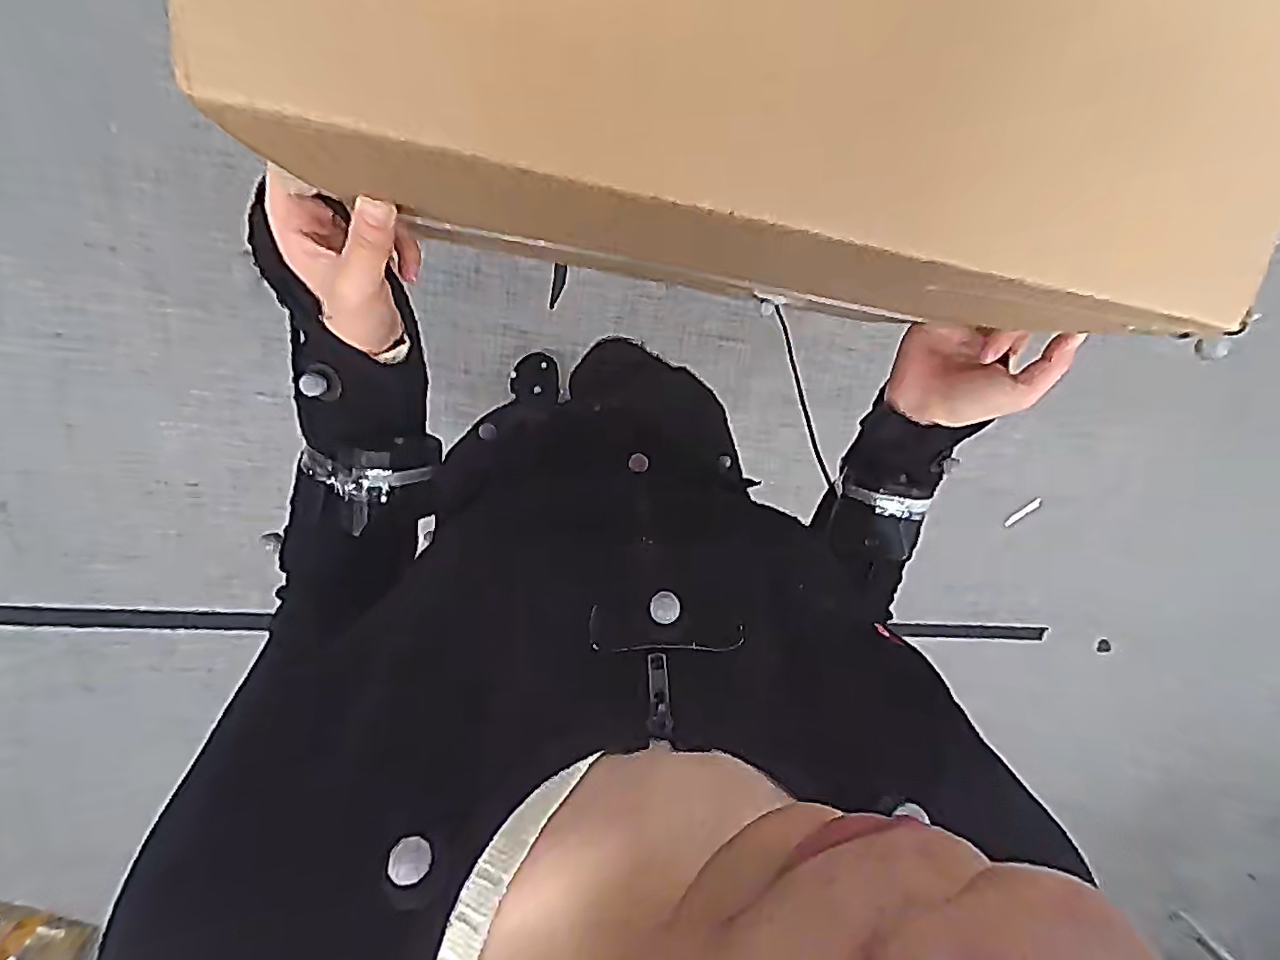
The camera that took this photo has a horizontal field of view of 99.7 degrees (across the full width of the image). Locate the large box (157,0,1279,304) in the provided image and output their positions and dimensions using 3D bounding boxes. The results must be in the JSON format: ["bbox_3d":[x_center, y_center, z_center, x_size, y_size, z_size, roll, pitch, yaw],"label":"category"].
[{"bbox_3d":[0.060,-0.284,0.276,0.408,0.320,0.320,4,108,-14],"label":"large box"}]
